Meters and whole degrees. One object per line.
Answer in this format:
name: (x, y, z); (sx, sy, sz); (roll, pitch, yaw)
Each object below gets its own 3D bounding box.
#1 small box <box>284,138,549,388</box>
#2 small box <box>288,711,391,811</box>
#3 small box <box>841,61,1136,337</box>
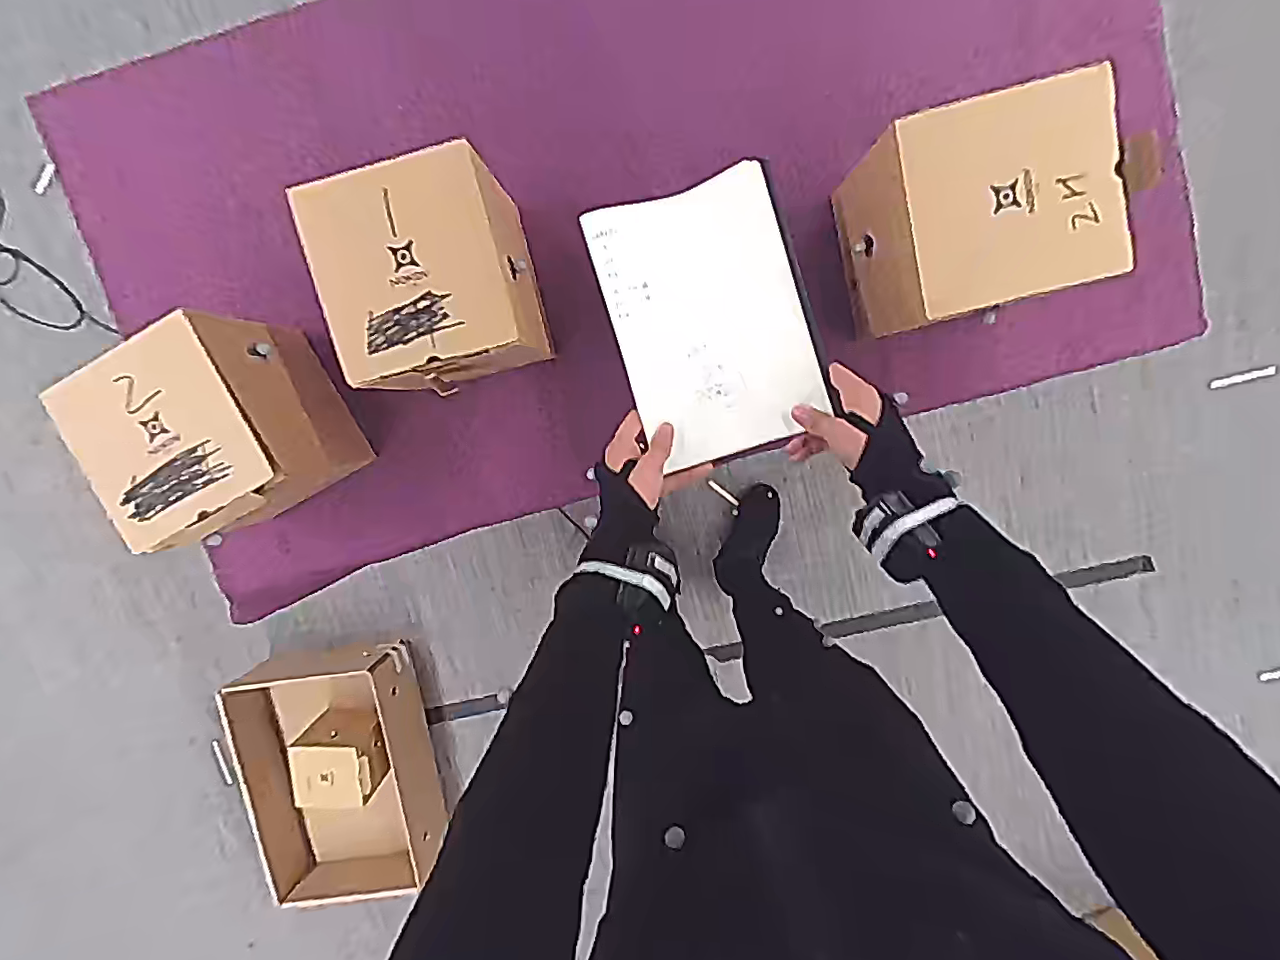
small box: (-0.201, -0.196, 0.544); (0.168, 0.176, 0.179); (-14, 97, 4)
small box: (-0.756, 0.712, 1.383); (0.179, 0.176, 0.168); (-1, 99, 2)
small box: (0.309, -0.244, 0.519); (0.179, 0.176, 0.168); (-13, 98, 3)
